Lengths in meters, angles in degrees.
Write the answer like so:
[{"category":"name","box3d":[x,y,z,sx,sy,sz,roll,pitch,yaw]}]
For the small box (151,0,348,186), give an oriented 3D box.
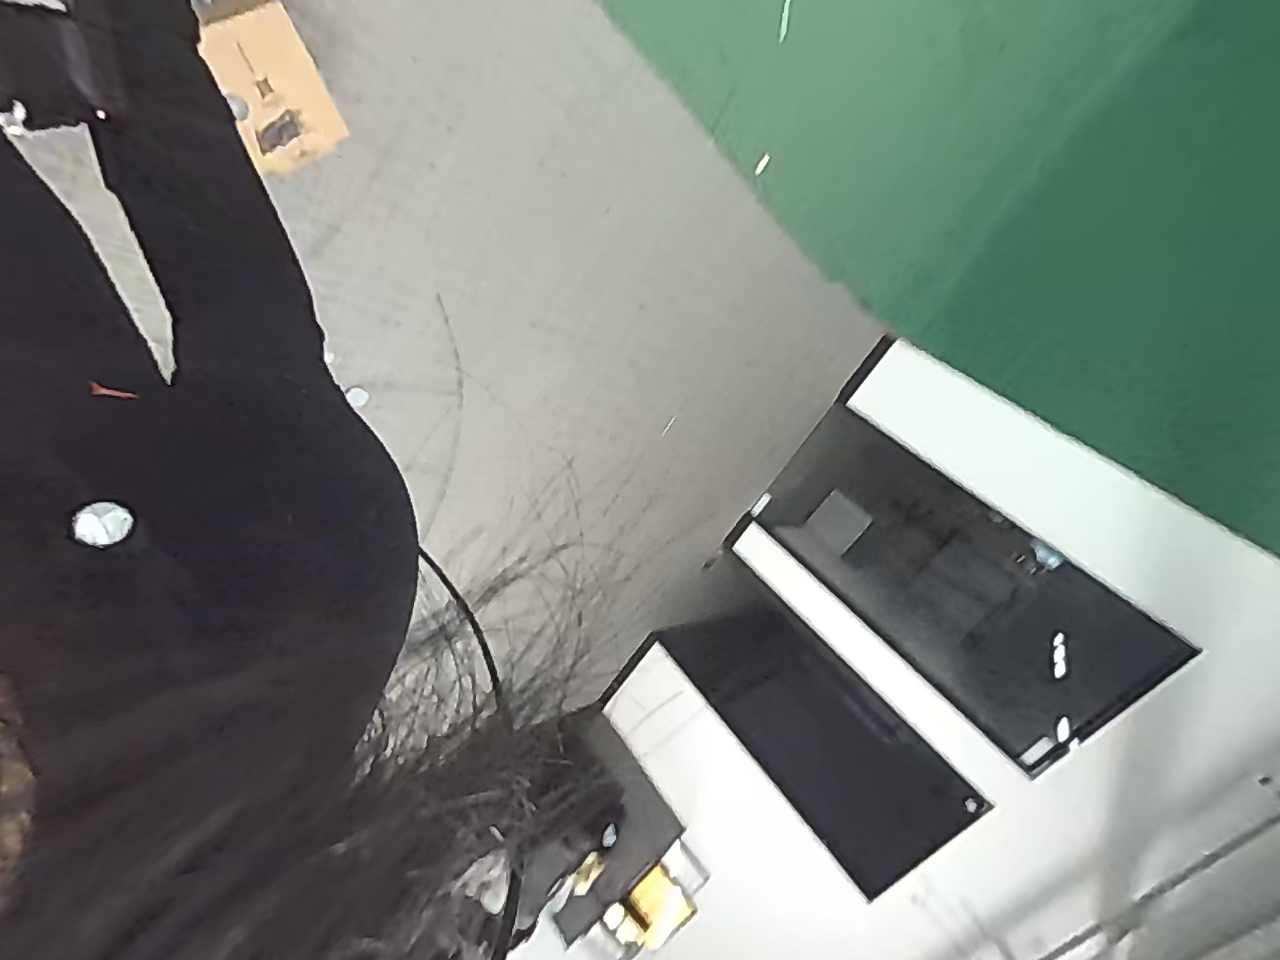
[{"category":"small box","box3d":[-0.602,-0.603,0.842,0.168,0.176,0.179,-36,148,-15]}]
